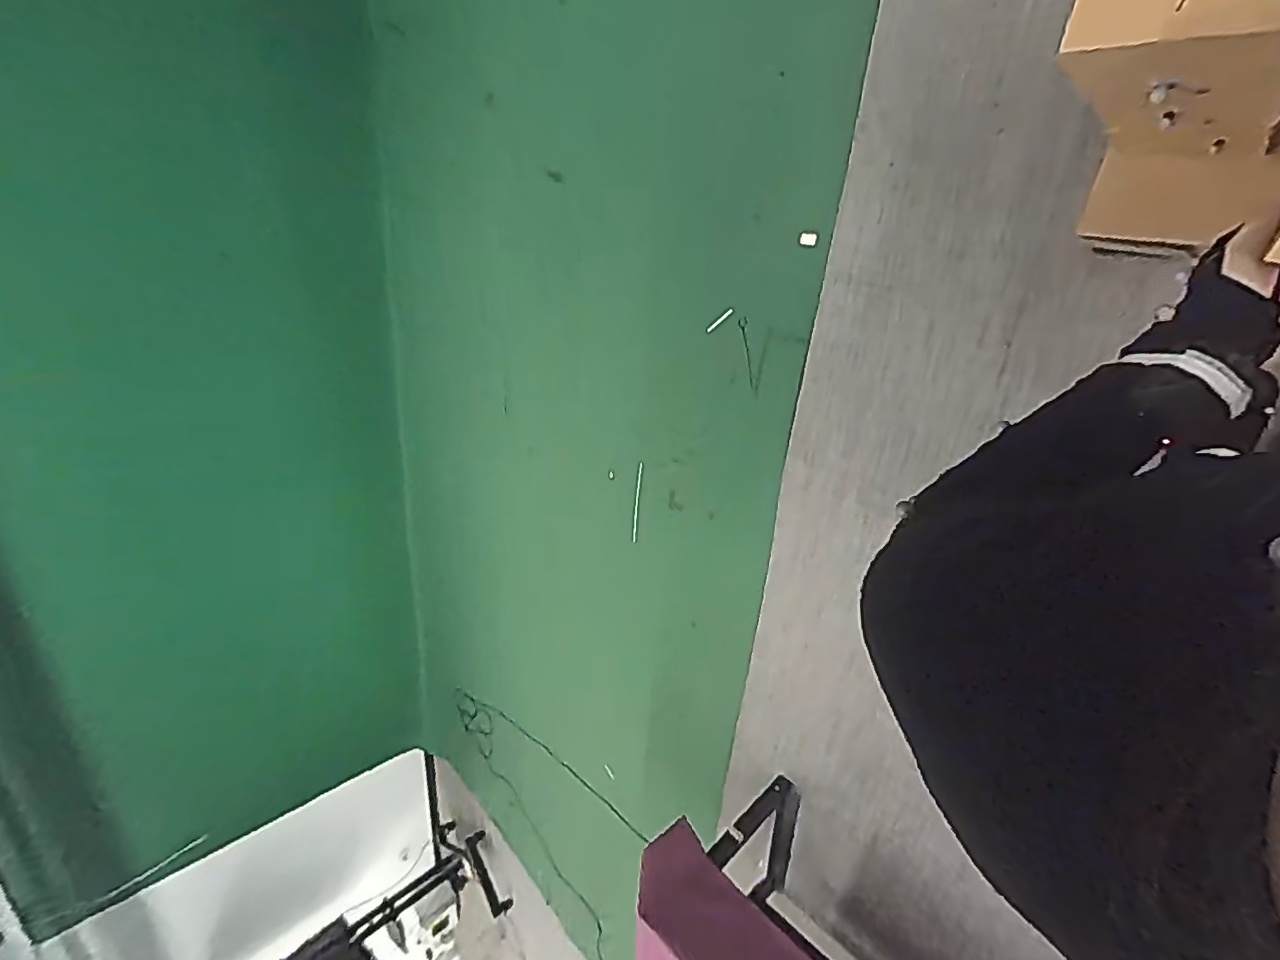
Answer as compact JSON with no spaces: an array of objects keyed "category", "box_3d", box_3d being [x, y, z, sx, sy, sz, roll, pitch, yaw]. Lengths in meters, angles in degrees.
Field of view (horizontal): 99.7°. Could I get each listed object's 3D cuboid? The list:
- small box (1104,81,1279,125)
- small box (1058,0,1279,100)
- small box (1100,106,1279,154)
[{"category":"small box","box_3d":[0.640,-0.515,0.594,0.168,0.176,0.179,28,121,39]},{"category":"small box","box_3d":[0.522,-0.474,0.488,0.168,0.176,0.179,29,121,39]},{"category":"small box","box_3d":[0.753,-0.542,0.709,0.168,0.176,0.179,29,119,39]}]
